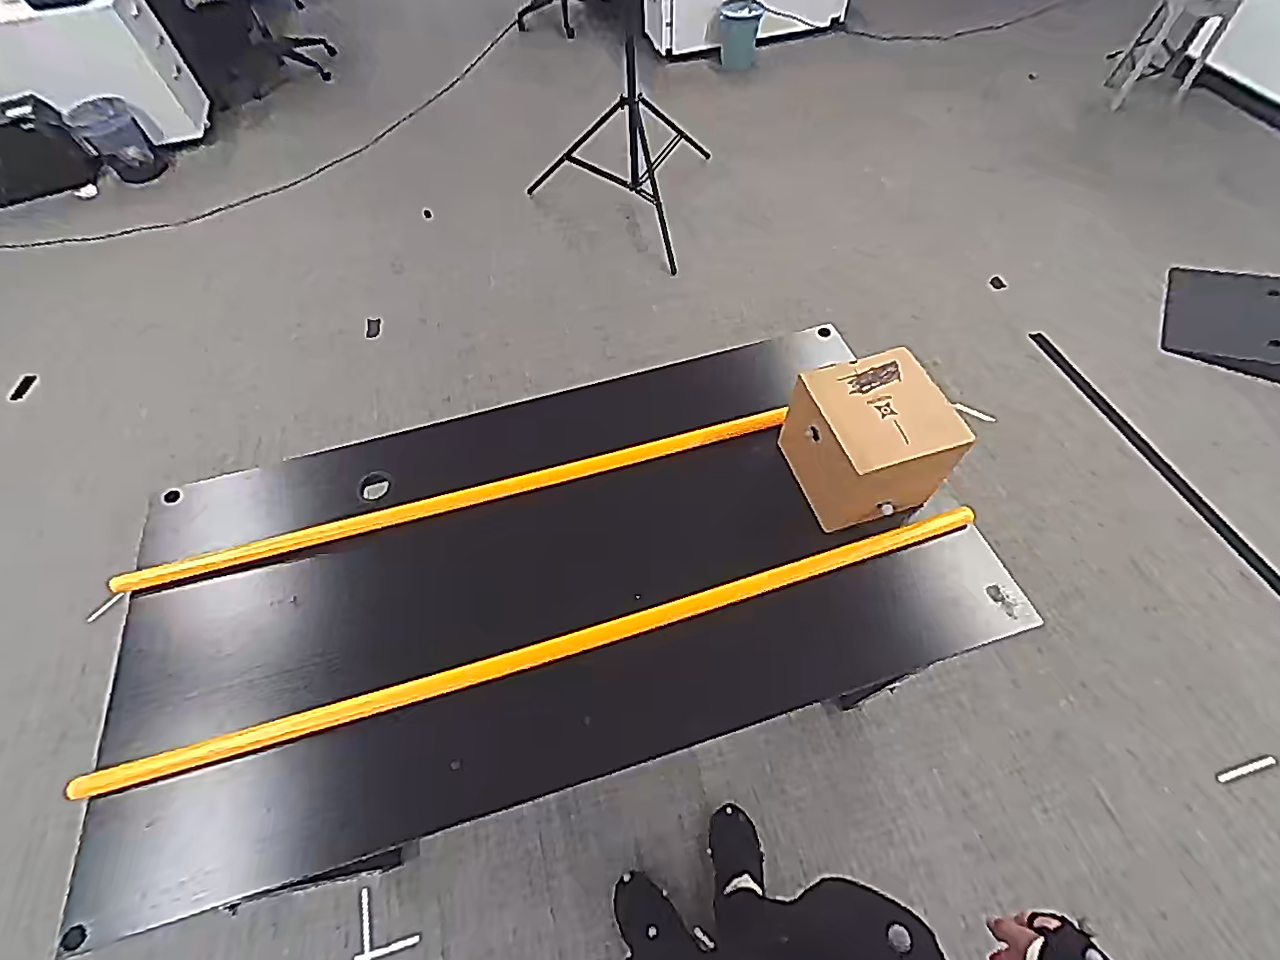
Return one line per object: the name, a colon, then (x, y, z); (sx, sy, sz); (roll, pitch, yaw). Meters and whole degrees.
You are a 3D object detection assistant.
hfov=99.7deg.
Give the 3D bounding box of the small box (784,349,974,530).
small box: (0.325, -0.055, 0.783); (0.168, 0.176, 0.179); (-15, 59, -6)
